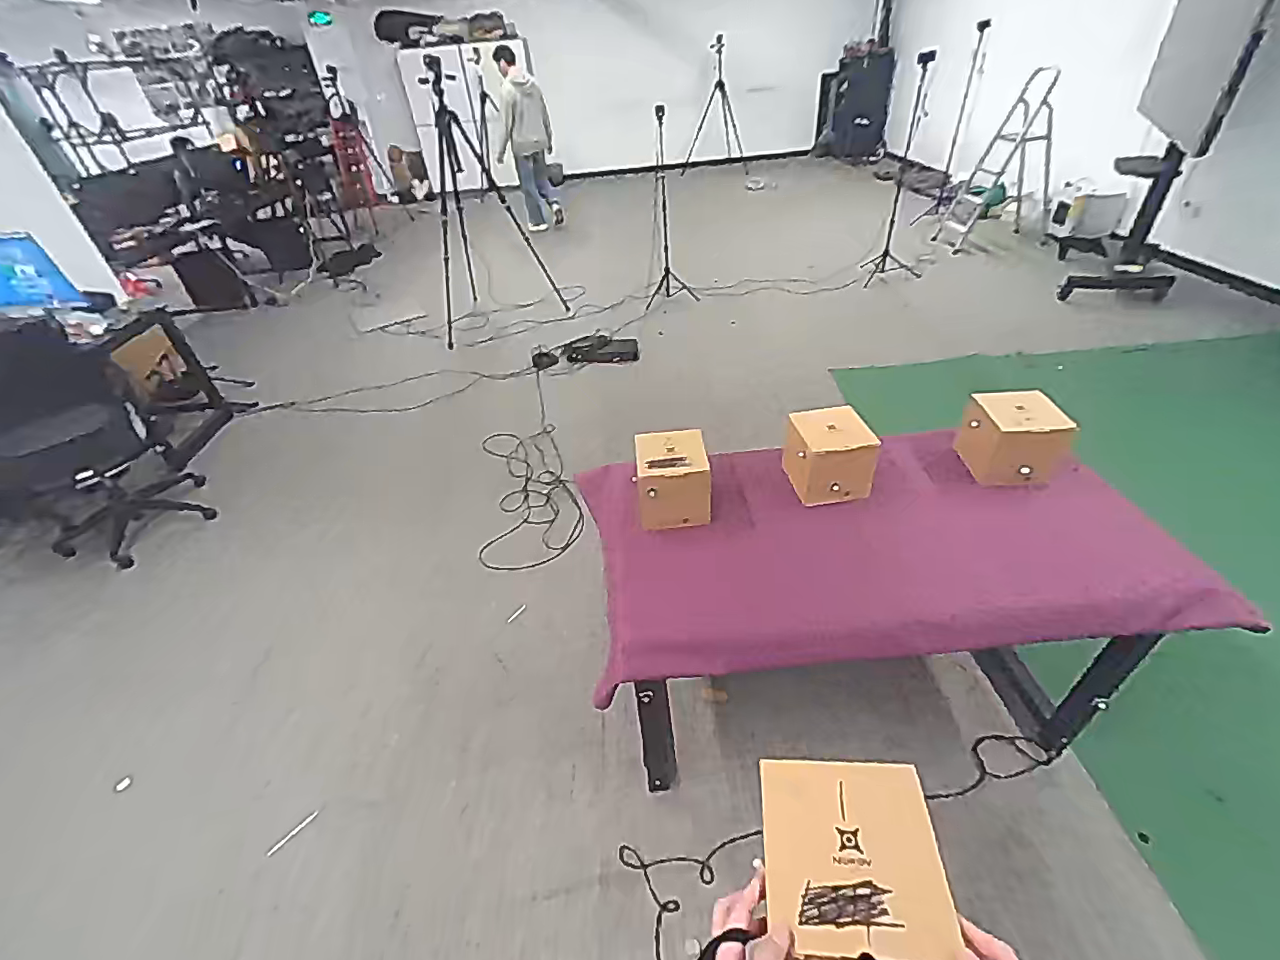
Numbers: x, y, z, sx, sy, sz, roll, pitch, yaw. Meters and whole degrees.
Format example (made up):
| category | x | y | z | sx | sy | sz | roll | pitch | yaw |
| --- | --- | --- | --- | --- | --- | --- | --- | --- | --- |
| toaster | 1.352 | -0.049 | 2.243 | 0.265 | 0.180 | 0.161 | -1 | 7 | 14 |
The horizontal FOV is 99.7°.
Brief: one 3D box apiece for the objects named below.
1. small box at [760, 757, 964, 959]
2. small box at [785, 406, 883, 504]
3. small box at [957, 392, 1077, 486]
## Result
| category | x | y | z | sx | sy | sz | roll | pitch | yaw |
| --- | --- | --- | --- | --- | --- | --- | --- | --- | --- |
| small box | 0.219 | 0.426 | 0.575 | 0.168 | 0.176 | 0.179 | -4 | 34 | 12 |
| small box | 0.473 | -0.062 | 1.355 | 0.168 | 0.176 | 0.179 | -8 | 40 | -4 |
| small box | 0.924 | -0.102 | 1.347 | 0.168 | 0.176 | 0.179 | -2 | 40 | 5 |
